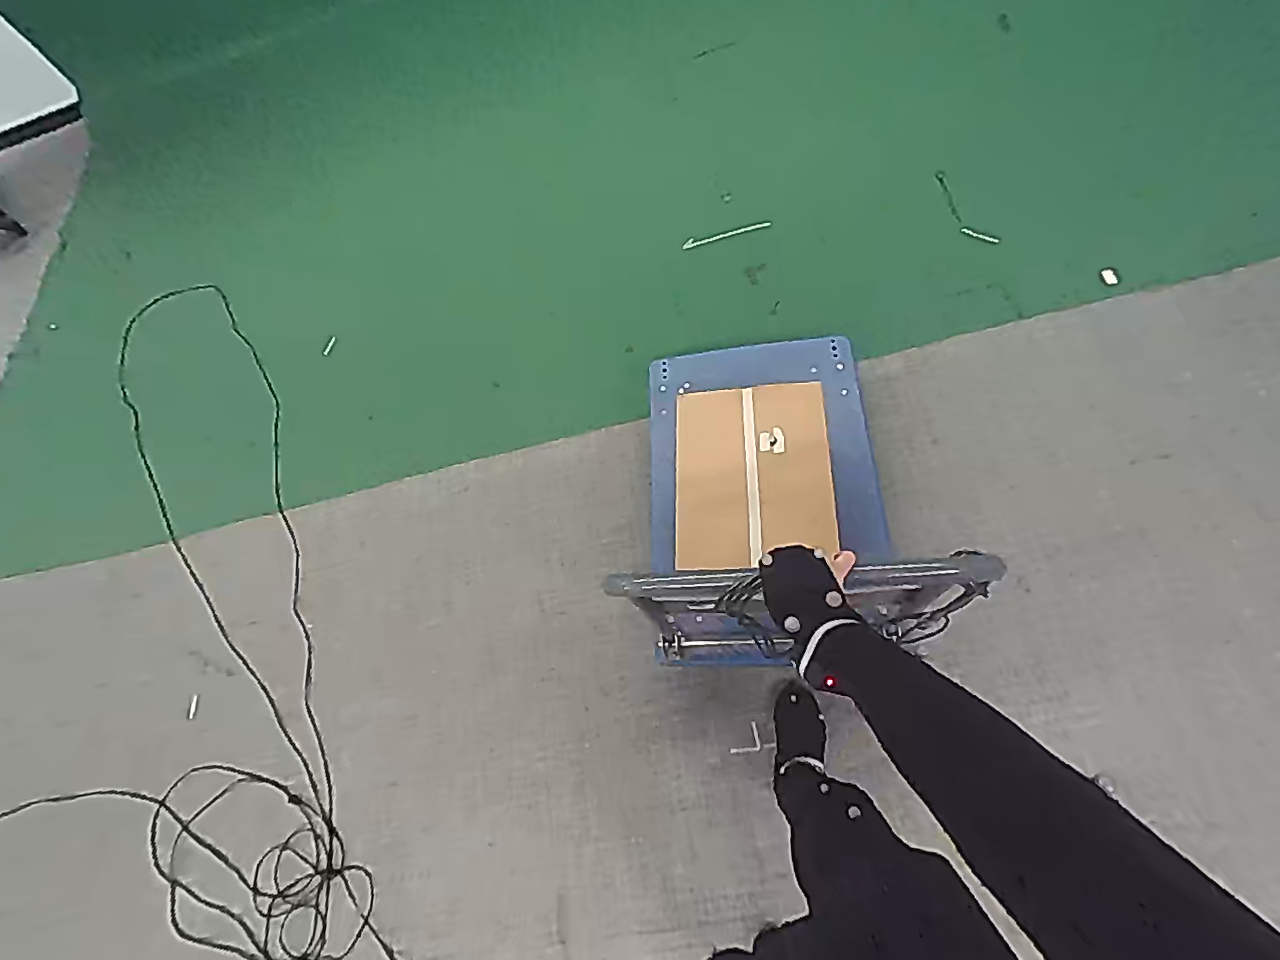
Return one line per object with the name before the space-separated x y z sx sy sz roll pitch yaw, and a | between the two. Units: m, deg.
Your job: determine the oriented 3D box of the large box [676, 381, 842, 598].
large box | 0.260 0.040 1.231 0.320 0.320 0.408 -3 67 12
